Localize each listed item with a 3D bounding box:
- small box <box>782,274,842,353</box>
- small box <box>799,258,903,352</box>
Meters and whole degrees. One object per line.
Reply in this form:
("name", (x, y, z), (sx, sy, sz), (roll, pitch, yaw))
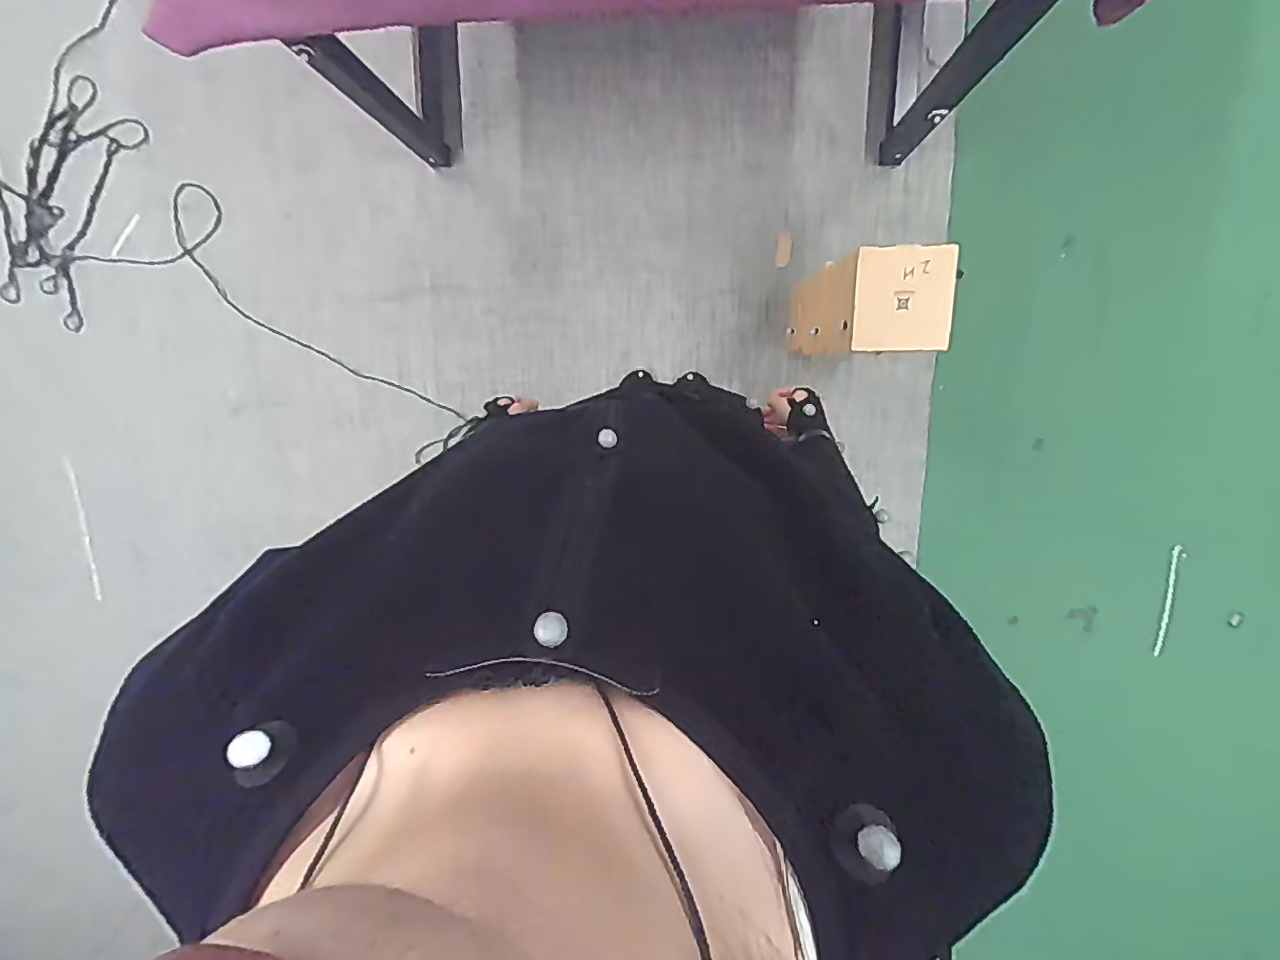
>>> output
("small box", (0.452, -0.402, 1.324), (0.179, 0.176, 0.168), (2, 101, 3))
("small box", (0.446, -0.369, 1.166), (0.168, 0.176, 0.179), (0, 102, 4))
